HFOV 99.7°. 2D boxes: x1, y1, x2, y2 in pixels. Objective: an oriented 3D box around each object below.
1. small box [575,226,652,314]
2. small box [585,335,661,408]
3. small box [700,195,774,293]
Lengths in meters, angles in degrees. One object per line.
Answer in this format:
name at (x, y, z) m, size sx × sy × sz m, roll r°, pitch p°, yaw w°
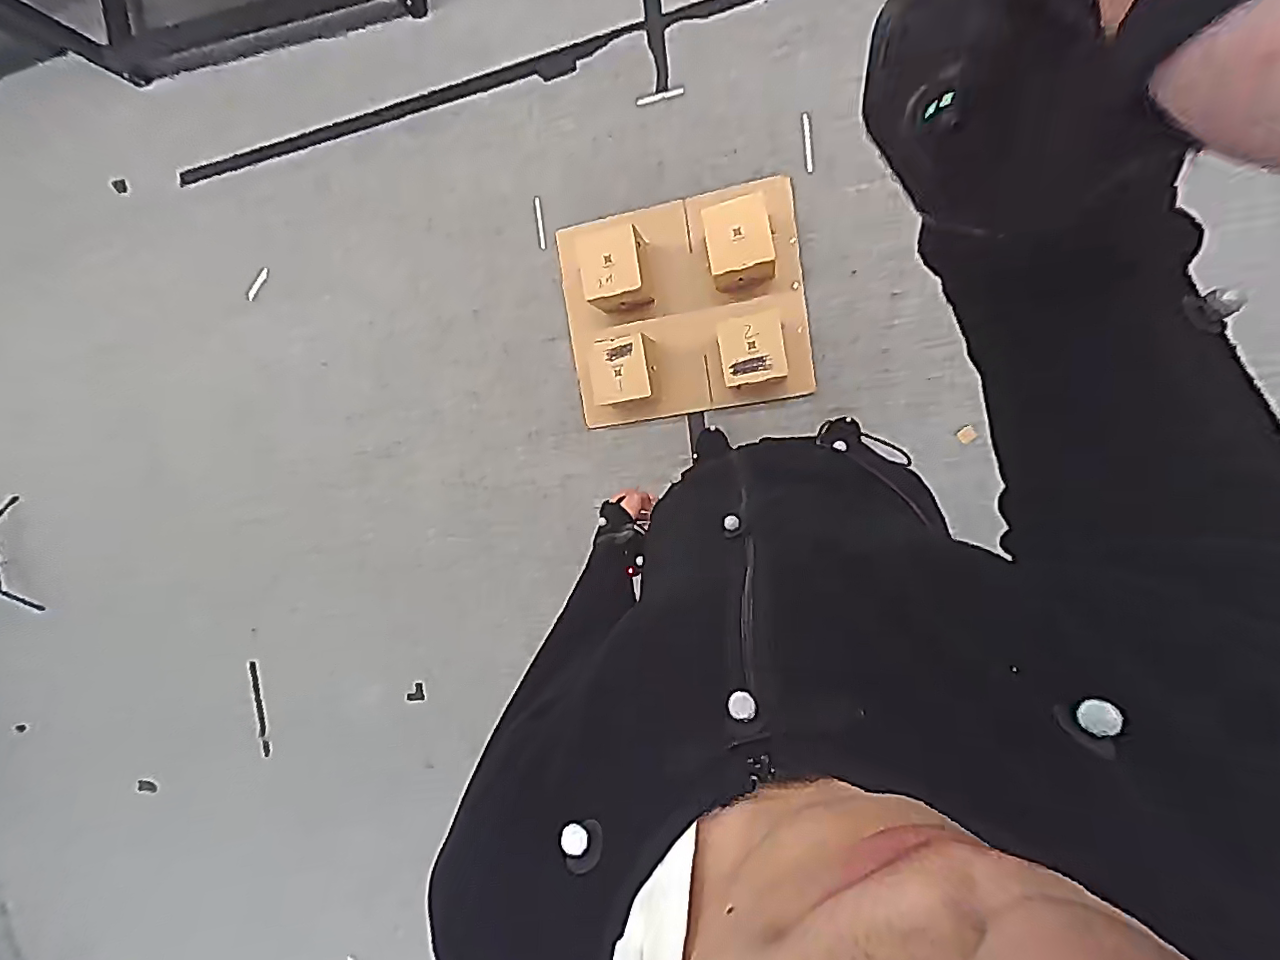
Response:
small box at (-0.069, -0.589, 1.538) m, size 0.168 × 0.176 × 0.179 m, roll -8°, pitch 95°, yaw 14°
small box at (-0.045, -0.306, 1.566) m, size 0.168 × 0.176 × 0.179 m, roll -9°, pitch 95°, yaw 14°
small box at (0.264, -0.630, 1.464) m, size 0.168 × 0.176 × 0.179 m, roll -11°, pitch 94°, yaw 14°
